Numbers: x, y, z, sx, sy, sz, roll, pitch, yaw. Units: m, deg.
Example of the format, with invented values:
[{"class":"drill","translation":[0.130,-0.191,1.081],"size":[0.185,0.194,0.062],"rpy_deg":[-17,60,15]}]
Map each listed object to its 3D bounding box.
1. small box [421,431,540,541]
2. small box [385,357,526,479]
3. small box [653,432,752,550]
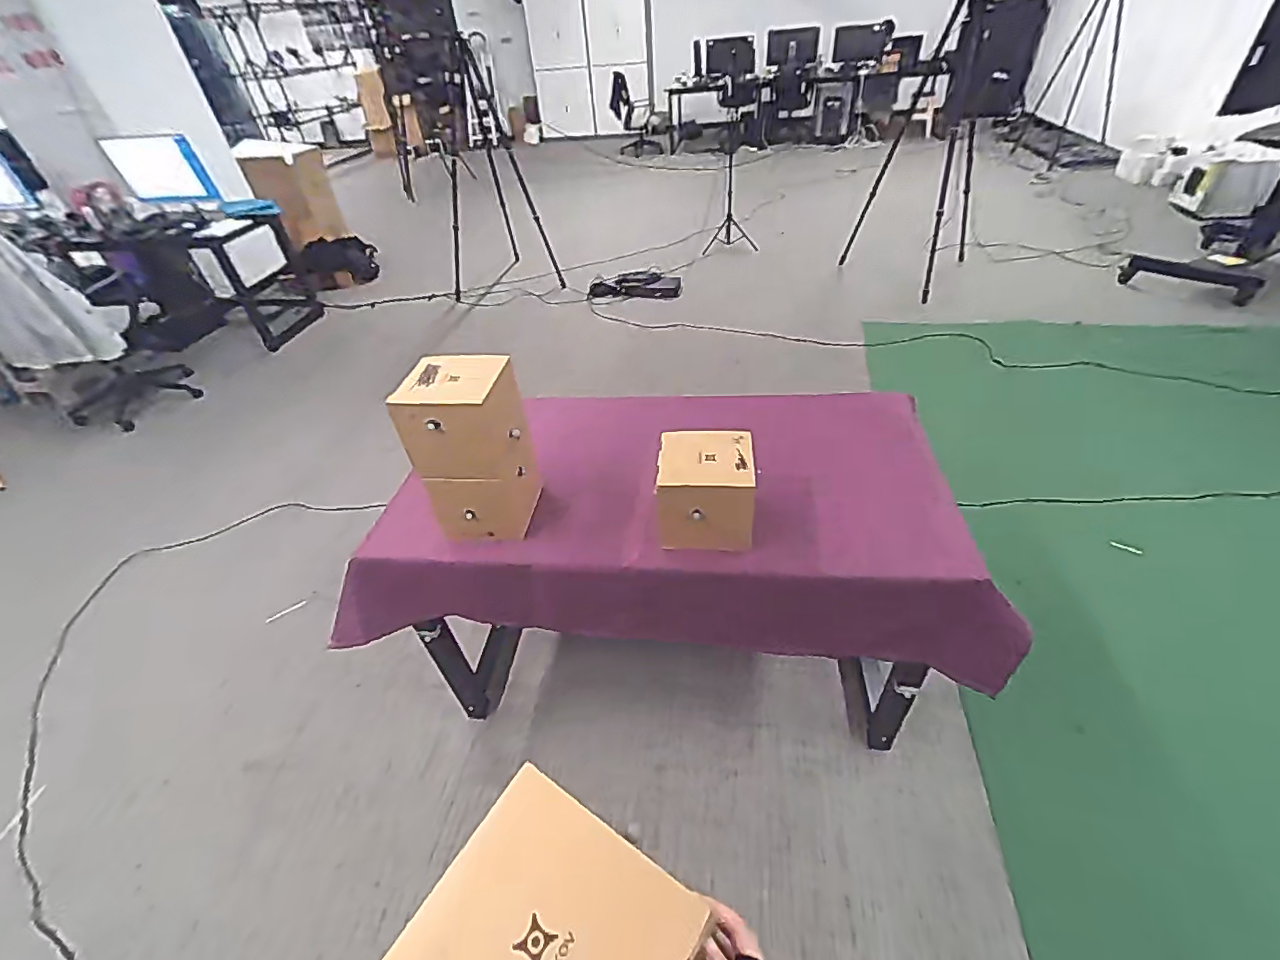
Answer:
[{"class":"small box","translation":[-0.317,0.010,1.119],"size":[0.168,0.176,0.179],"rpy_deg":[2,41,8]},{"class":"small box","translation":[-0.331,-0.115,1.012],"size":[0.179,0.176,0.168],"rpy_deg":[1,41,7]},{"class":"small box","translation":[0.125,0.023,1.050],"size":[0.179,0.176,0.168],"rpy_deg":[0,41,8]}]
